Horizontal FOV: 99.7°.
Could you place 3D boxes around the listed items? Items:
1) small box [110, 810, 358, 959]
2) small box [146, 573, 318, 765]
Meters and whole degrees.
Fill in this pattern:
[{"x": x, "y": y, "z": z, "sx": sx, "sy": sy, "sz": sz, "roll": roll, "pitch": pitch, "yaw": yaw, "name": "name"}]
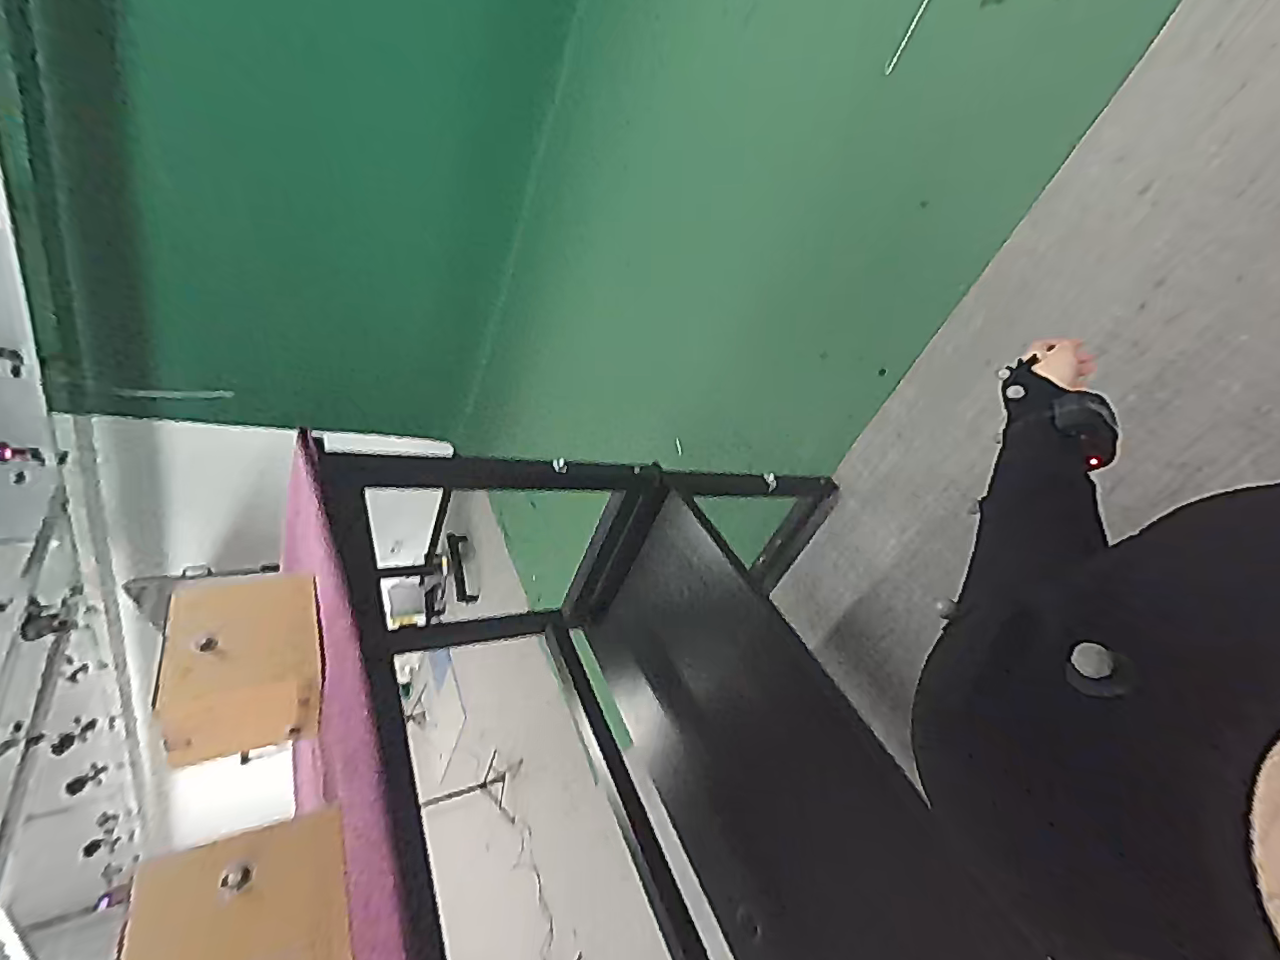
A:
[{"x": -0.376, "y": 0.446, "z": 0.508, "sx": 0.179, "sy": 0.176, "sz": 0.168, "roll": 53, "pitch": 129, "yaw": 39, "name": "small box"}, {"x": -0.544, "y": 0.245, "z": 0.739, "sx": 0.179, "sy": 0.176, "sz": 0.168, "roll": 56, "pitch": 133, "yaw": 38, "name": "small box"}]
